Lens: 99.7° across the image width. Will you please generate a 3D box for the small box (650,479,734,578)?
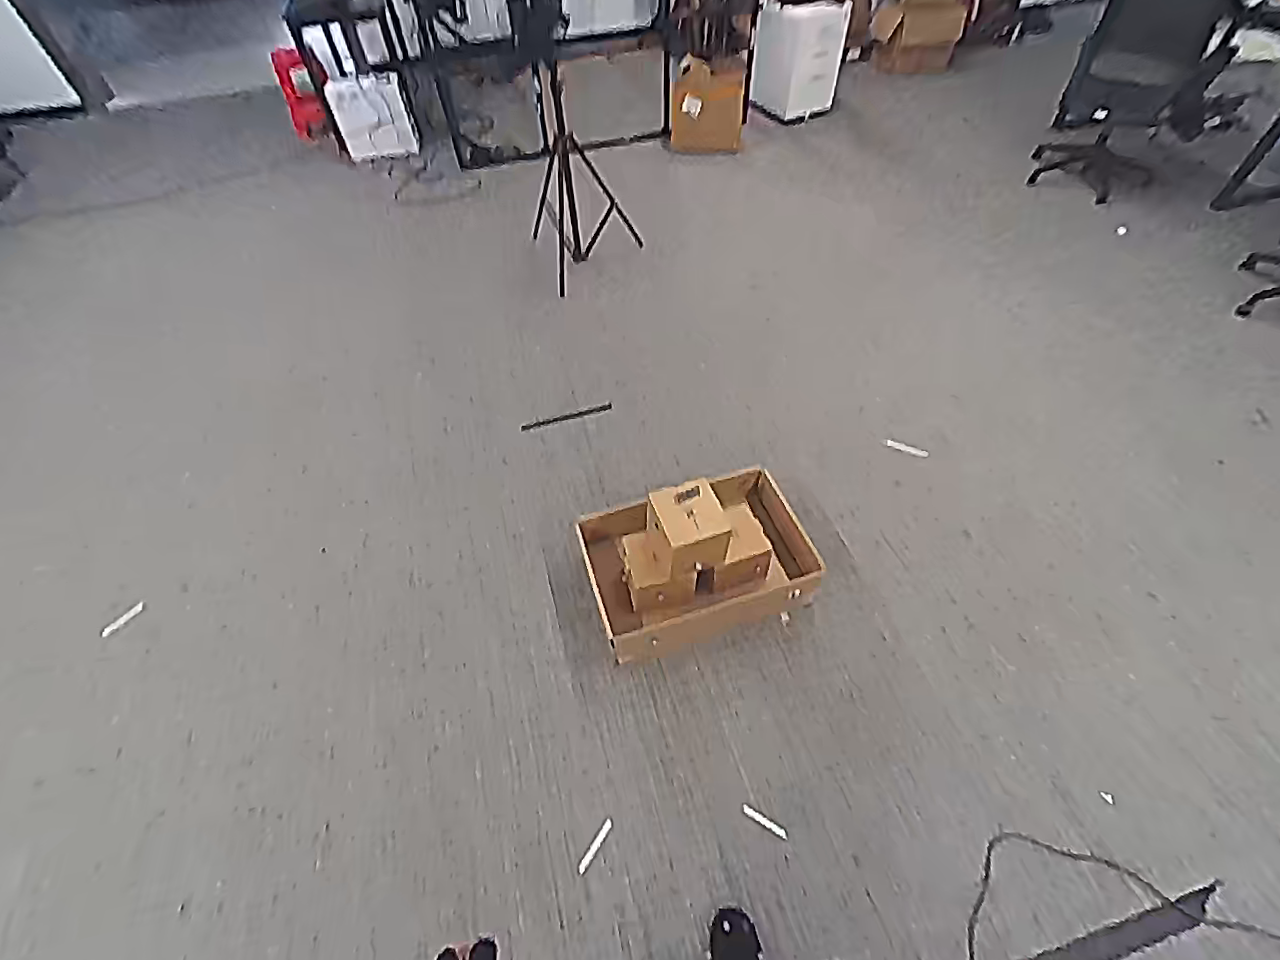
[{"bbox_3d":[0.128,0.130,1.429,0.168,0.176,0.179,-16,54,-12],"label":"small box"}]
